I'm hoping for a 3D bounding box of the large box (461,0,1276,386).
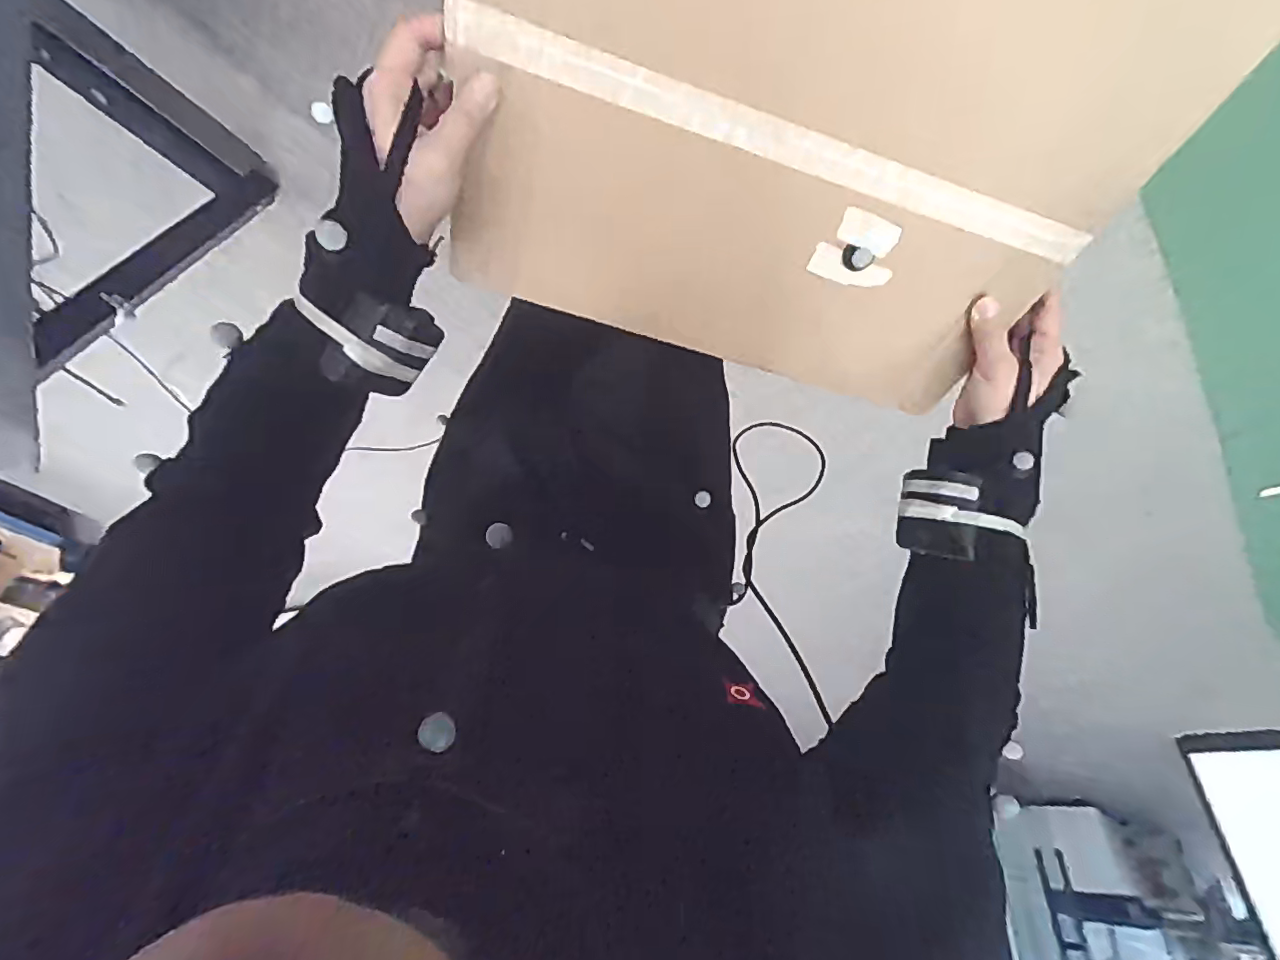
[{"bbox_3d":[0.104,-0.325,0.413,0.408,0.320,0.320,12,139,-10],"label":"large box"}]
